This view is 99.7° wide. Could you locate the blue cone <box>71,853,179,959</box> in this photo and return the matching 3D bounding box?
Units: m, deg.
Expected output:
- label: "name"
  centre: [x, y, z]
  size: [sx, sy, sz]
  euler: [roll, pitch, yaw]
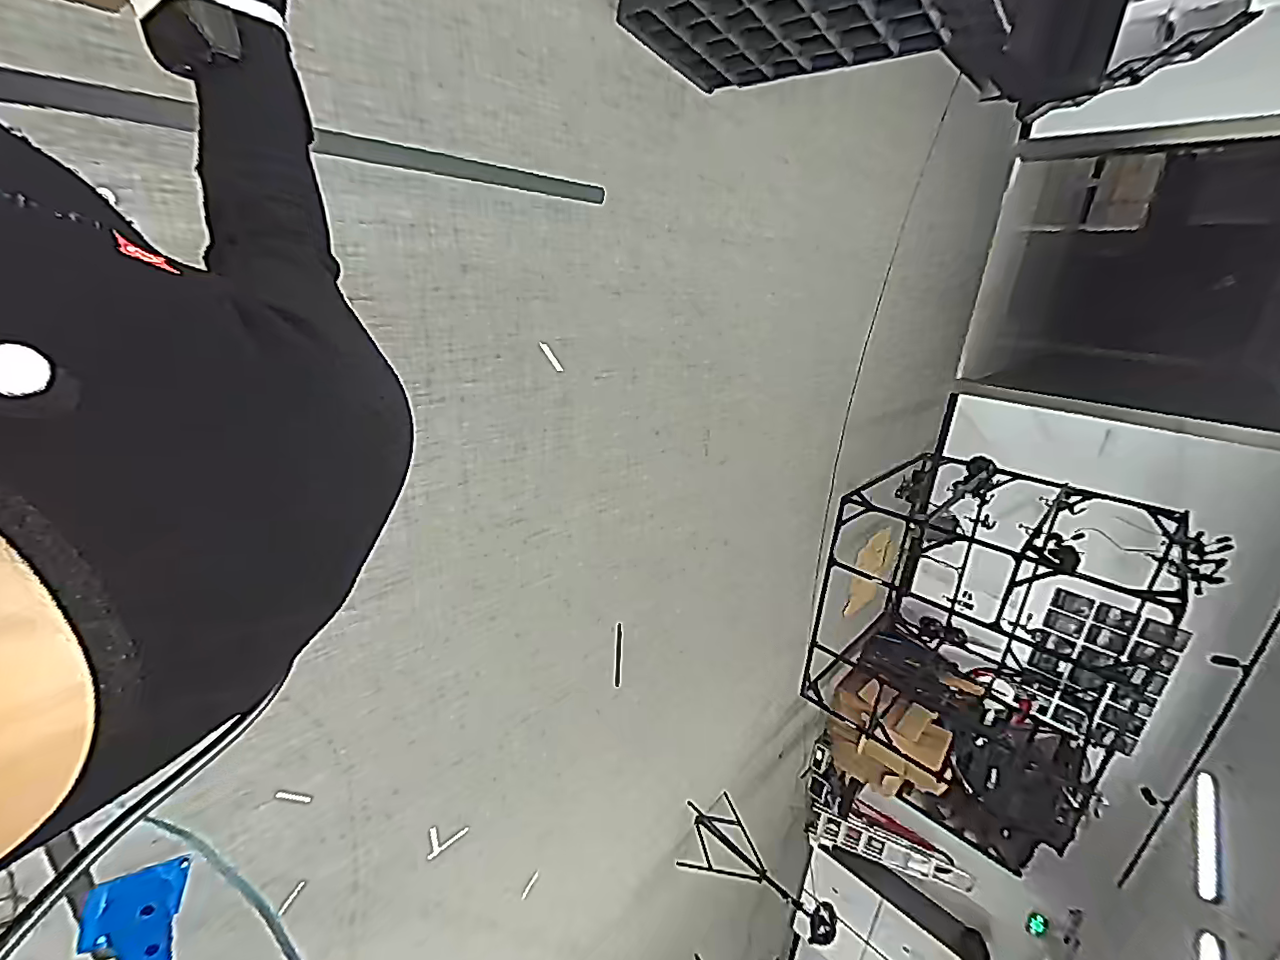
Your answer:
- label: "blue cone"
  centre: [-1.203, 1.125, 1.291]
  size: [0.193, 0.380, 0.192]
  euler: [12, 97, -51]
